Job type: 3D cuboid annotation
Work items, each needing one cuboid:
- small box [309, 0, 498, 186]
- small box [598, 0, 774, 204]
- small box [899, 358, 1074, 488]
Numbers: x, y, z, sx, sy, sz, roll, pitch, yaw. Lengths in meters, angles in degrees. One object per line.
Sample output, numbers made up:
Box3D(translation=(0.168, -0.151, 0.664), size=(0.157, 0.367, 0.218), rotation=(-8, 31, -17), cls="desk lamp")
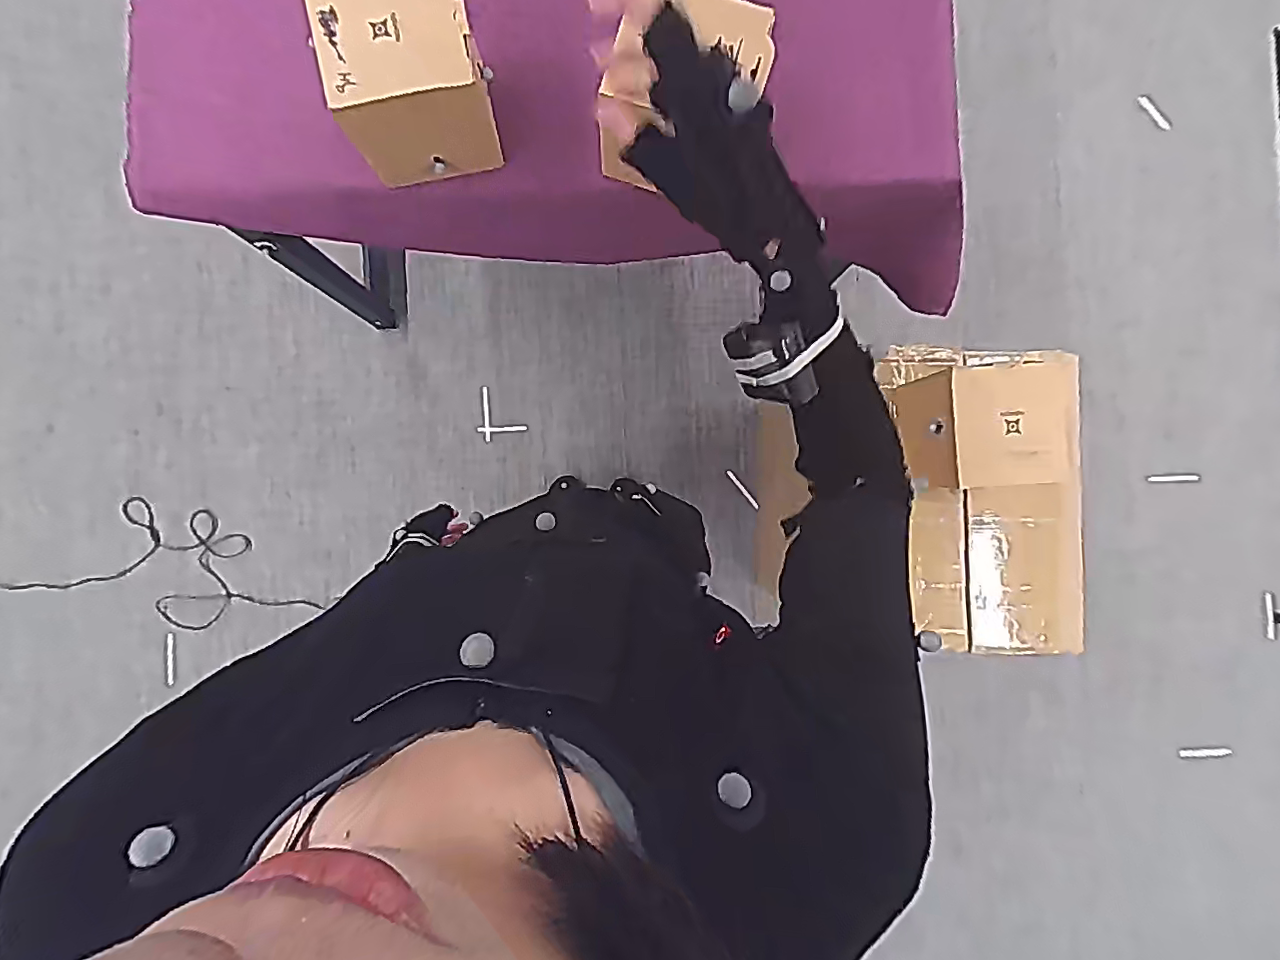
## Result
Box3D(translation=(-0.297, -0.524, 0.716), size=(0.179, 0.176, 0.168), rotation=(-12, 88, -3), cls="small box")
Box3D(translation=(0.054, -0.508, 0.729), size=(0.179, 0.176, 0.168), rotation=(18, 87, -1), cls="small box")
Box3D(translation=(0.522, -0.080, 0.839), size=(0.168, 0.176, 0.179), rotation=(-4, 90, 0), cls="small box")
